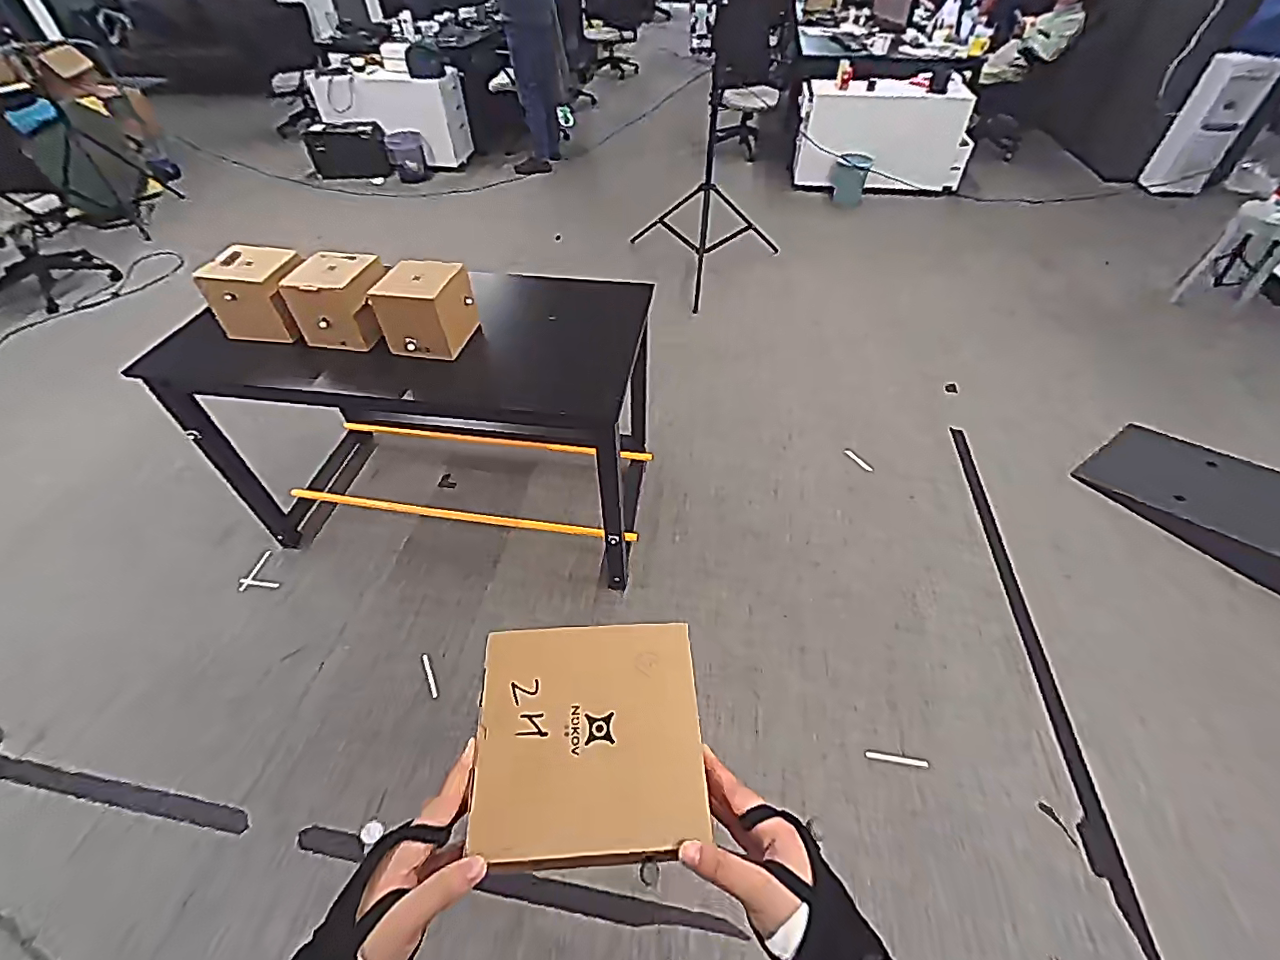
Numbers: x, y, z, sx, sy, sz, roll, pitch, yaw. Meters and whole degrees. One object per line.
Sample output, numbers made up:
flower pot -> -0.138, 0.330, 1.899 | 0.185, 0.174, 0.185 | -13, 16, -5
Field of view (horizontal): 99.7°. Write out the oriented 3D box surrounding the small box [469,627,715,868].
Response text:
small box -> -0.038, 0.245, 0.491 | 0.179, 0.176, 0.168 | -2, 52, -2

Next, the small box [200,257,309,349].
small box -> -0.949, -0.452, 1.383 | 0.179, 0.176, 0.168 | 5, 47, 4

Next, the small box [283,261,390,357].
small box -> -0.737, -0.428, 1.360 | 0.168, 0.176, 0.179 | 6, 48, 7

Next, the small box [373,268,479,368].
small box -> -0.514, -0.400, 1.334 | 0.168, 0.176, 0.179 | 6, 48, 8
